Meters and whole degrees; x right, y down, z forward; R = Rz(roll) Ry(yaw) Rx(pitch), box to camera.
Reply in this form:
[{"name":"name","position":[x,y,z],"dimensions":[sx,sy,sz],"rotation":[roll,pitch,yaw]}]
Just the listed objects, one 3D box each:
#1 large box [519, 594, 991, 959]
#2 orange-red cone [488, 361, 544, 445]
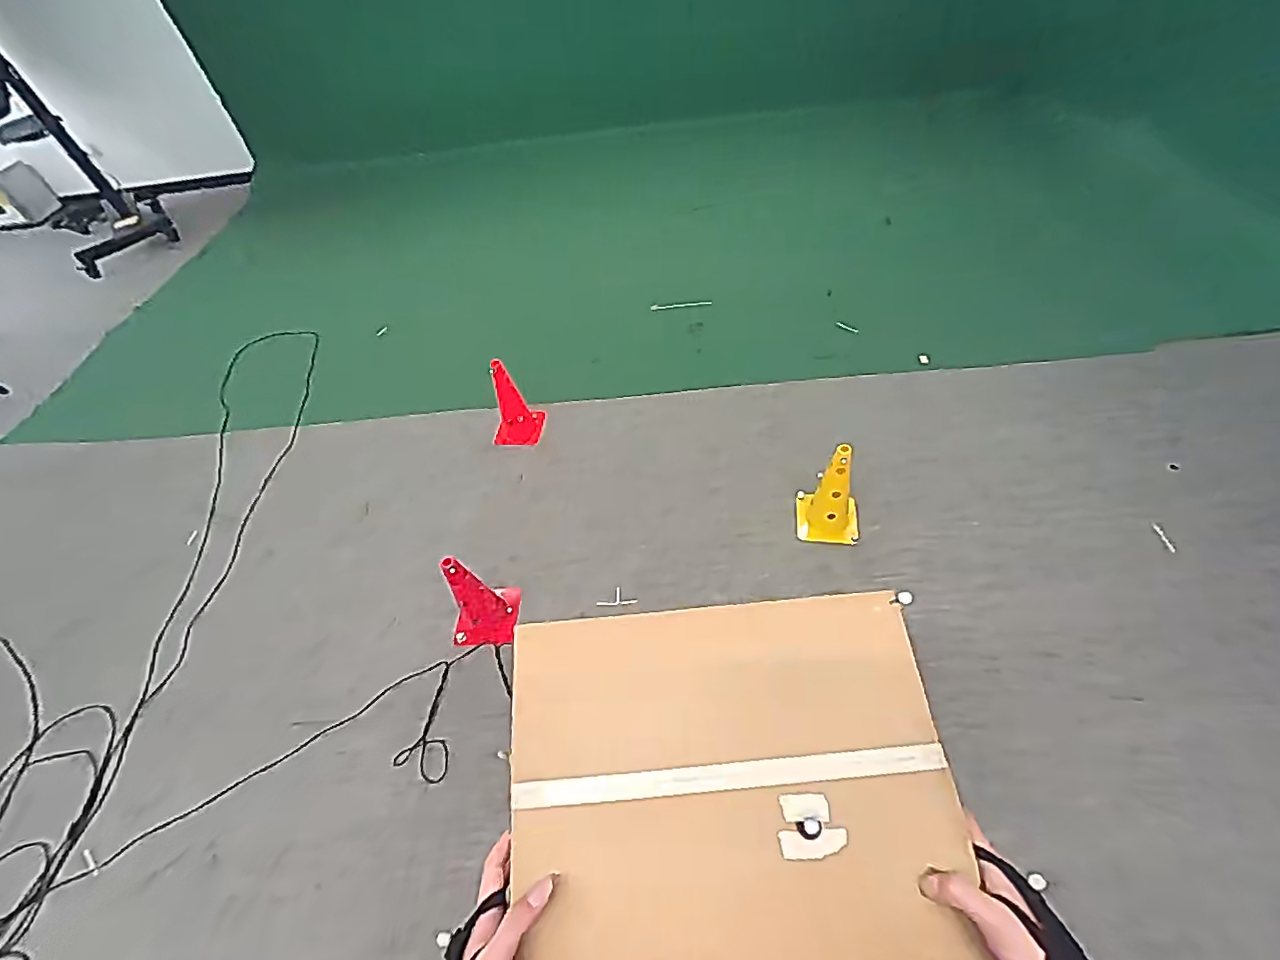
[{"name":"large box","position":[0.088,0.347,0.647],"dimensions":[0.408,0.320,0.320],"rotation":[-6,65,0]},{"name":"orange-red cone","position":[-0.546,-0.329,2.195],"dimensions":[0.199,0.360,0.198],"rotation":[1,50,10]}]
